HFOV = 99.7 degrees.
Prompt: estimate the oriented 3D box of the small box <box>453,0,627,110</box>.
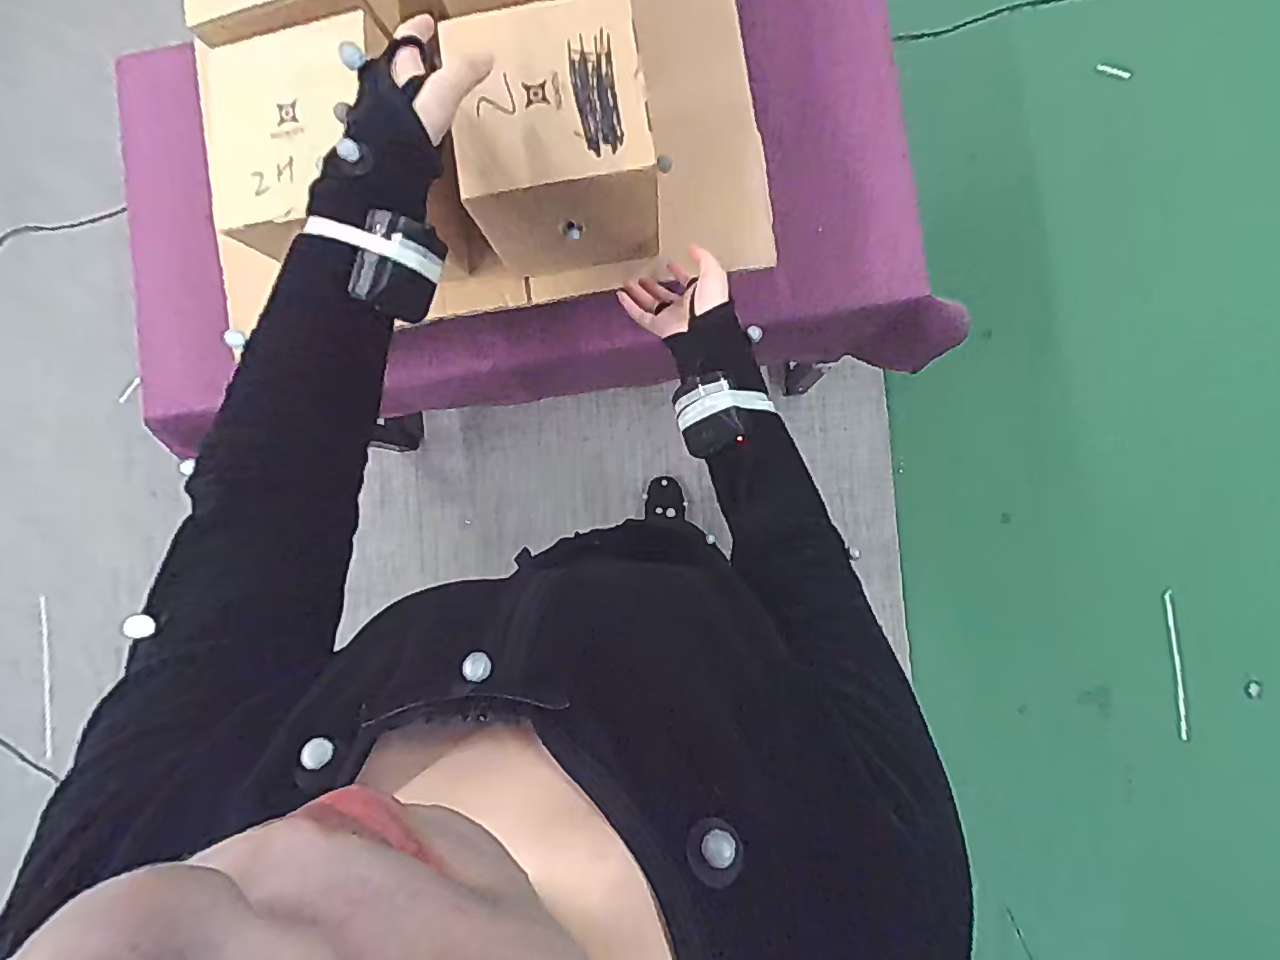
[{"bbox_3d":[-0.106,-0.538,0.568,0.168,0.176,0.179,-6,88,2],"label":"small box"}]
